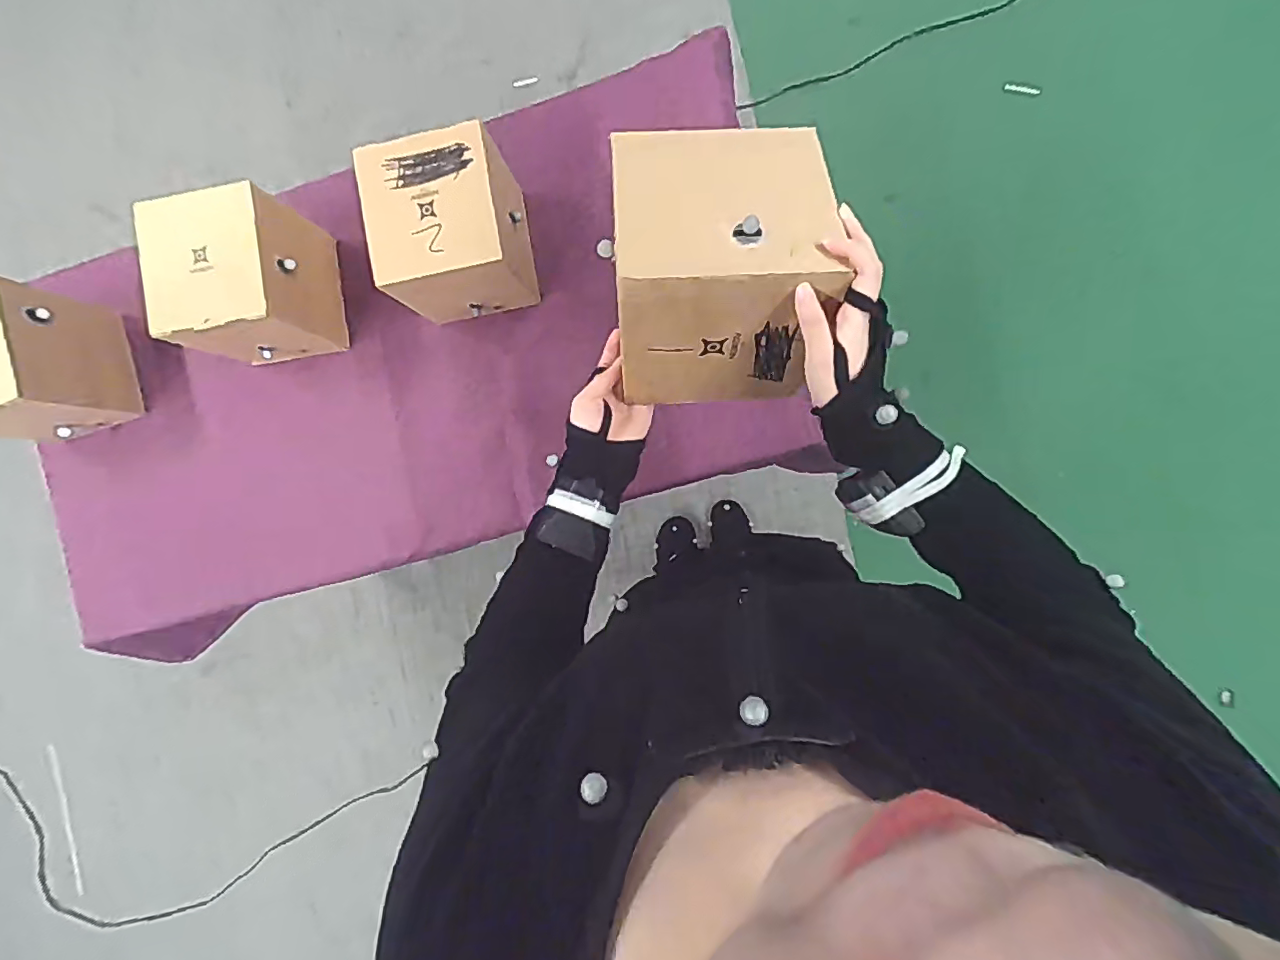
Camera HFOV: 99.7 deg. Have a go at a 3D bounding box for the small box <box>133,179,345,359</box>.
[{"bbox_3d":[-0.552,-0.284,0.765,0.168,0.176,0.179,-8,90,6],"label":"small box"}]

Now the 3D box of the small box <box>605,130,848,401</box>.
[{"bbox_3d":[0.060,-0.189,0.494,0.179,0.168,0.176,-2,66,-2],"label":"small box"}]

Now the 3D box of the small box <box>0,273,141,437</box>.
[{"bbox_3d":[-0.901,-0.172,0.795,0.168,0.176,0.179,-15,89,5],"label":"small box"}]
